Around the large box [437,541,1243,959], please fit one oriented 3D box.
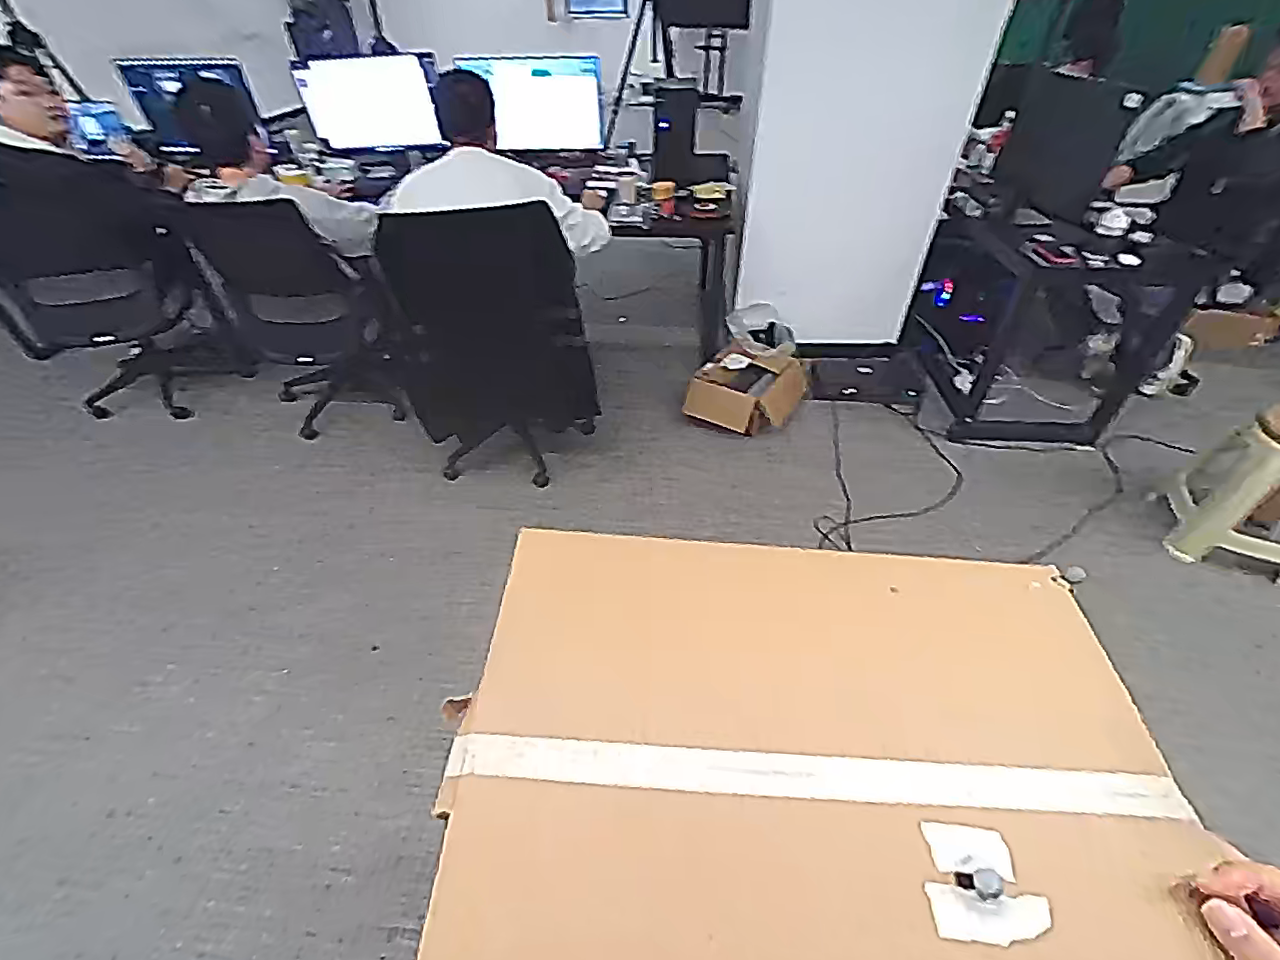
[{"bbox_3d":[0.092,0.271,0.423,0.408,0.320,0.320,5,49,-2],"label":"large box"}]
